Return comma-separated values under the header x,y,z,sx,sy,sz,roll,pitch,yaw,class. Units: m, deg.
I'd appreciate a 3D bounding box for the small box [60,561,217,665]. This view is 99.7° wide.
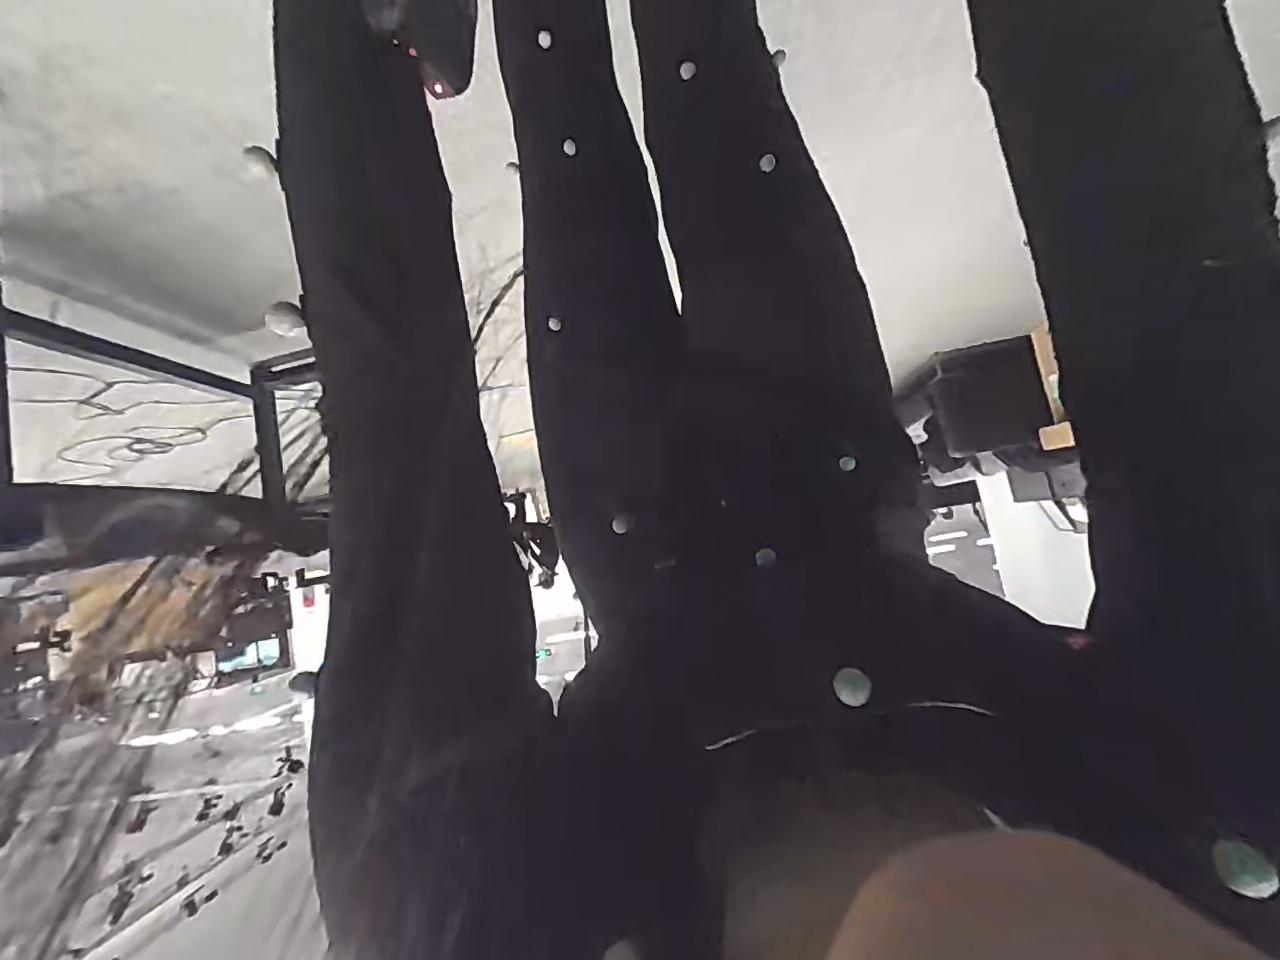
x,y,z,sx,sy,sz,roll,pitch,yaw,class
-1.014,0.262,1.100,0.179,0.176,0.168,-11,174,4,small box
